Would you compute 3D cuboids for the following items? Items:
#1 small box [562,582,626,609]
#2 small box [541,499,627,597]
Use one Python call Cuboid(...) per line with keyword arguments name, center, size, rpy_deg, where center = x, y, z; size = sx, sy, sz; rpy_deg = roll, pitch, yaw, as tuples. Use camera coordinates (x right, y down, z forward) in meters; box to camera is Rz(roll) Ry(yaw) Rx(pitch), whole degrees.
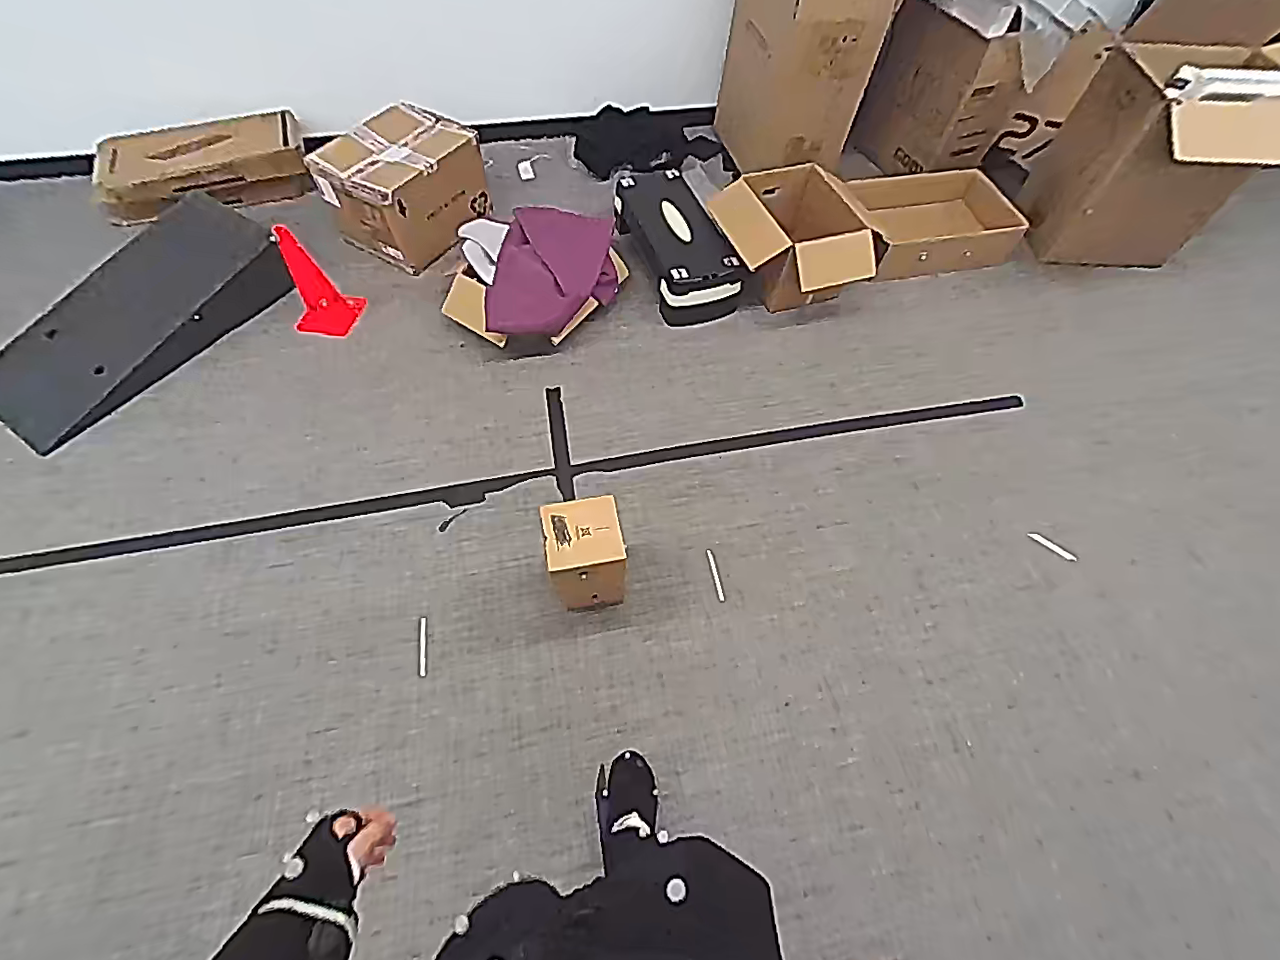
Cuboid(name="small box", center=(-0.129, 0.234, 1.438), size=(0.168, 0.176, 0.179), rpy_deg=(-7, 61, -6))
Cuboid(name="small box", center=(-0.130, 0.166, 1.286), size=(0.179, 0.176, 0.168), rpy_deg=(-9, 61, -8))
